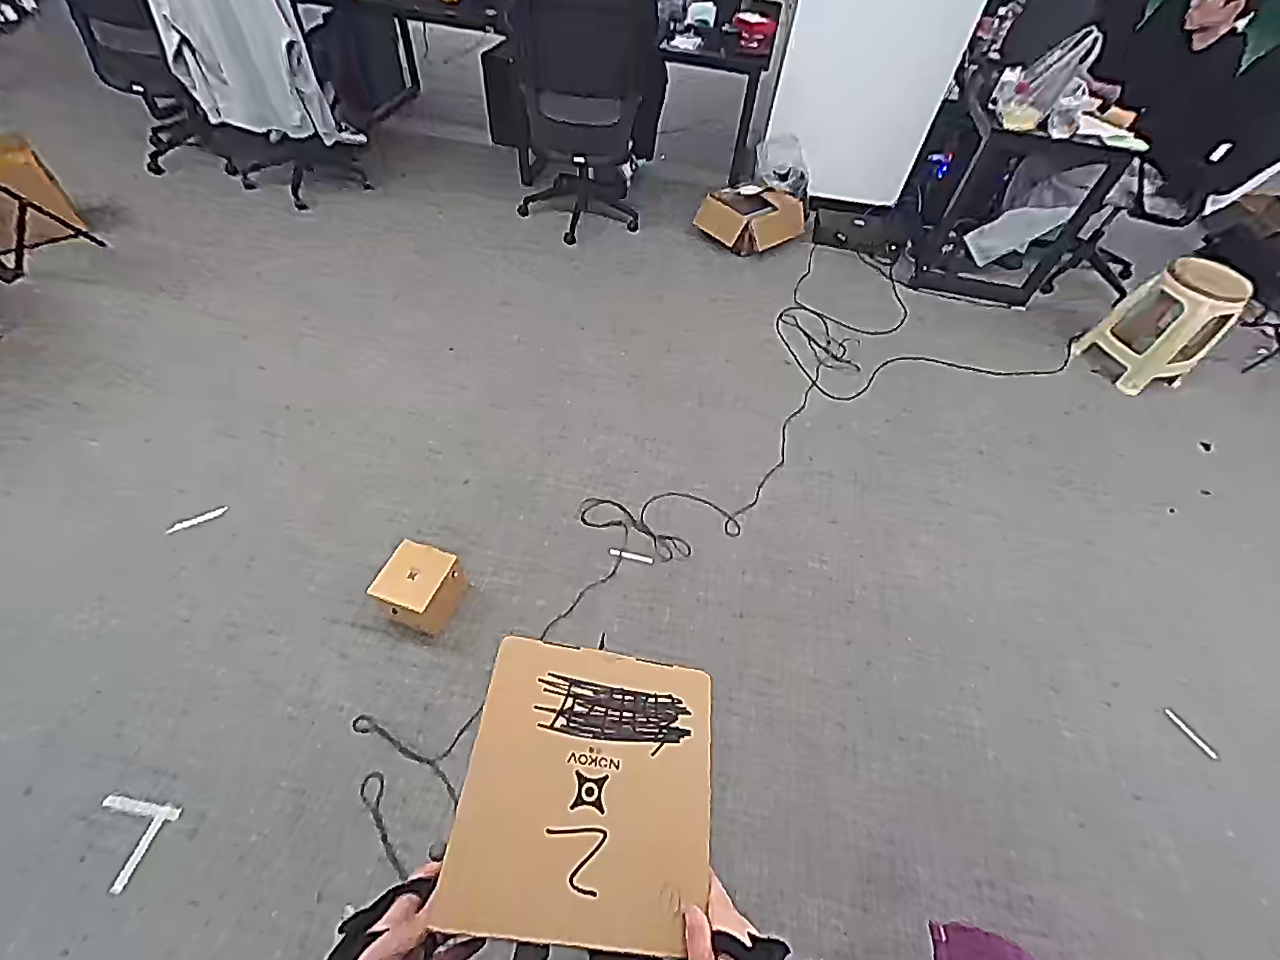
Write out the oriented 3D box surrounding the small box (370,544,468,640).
[{"bbox_3d":[-0.592,0.311,1.478,0.168,0.176,0.179,16,52,9],"label":"small box"}]
